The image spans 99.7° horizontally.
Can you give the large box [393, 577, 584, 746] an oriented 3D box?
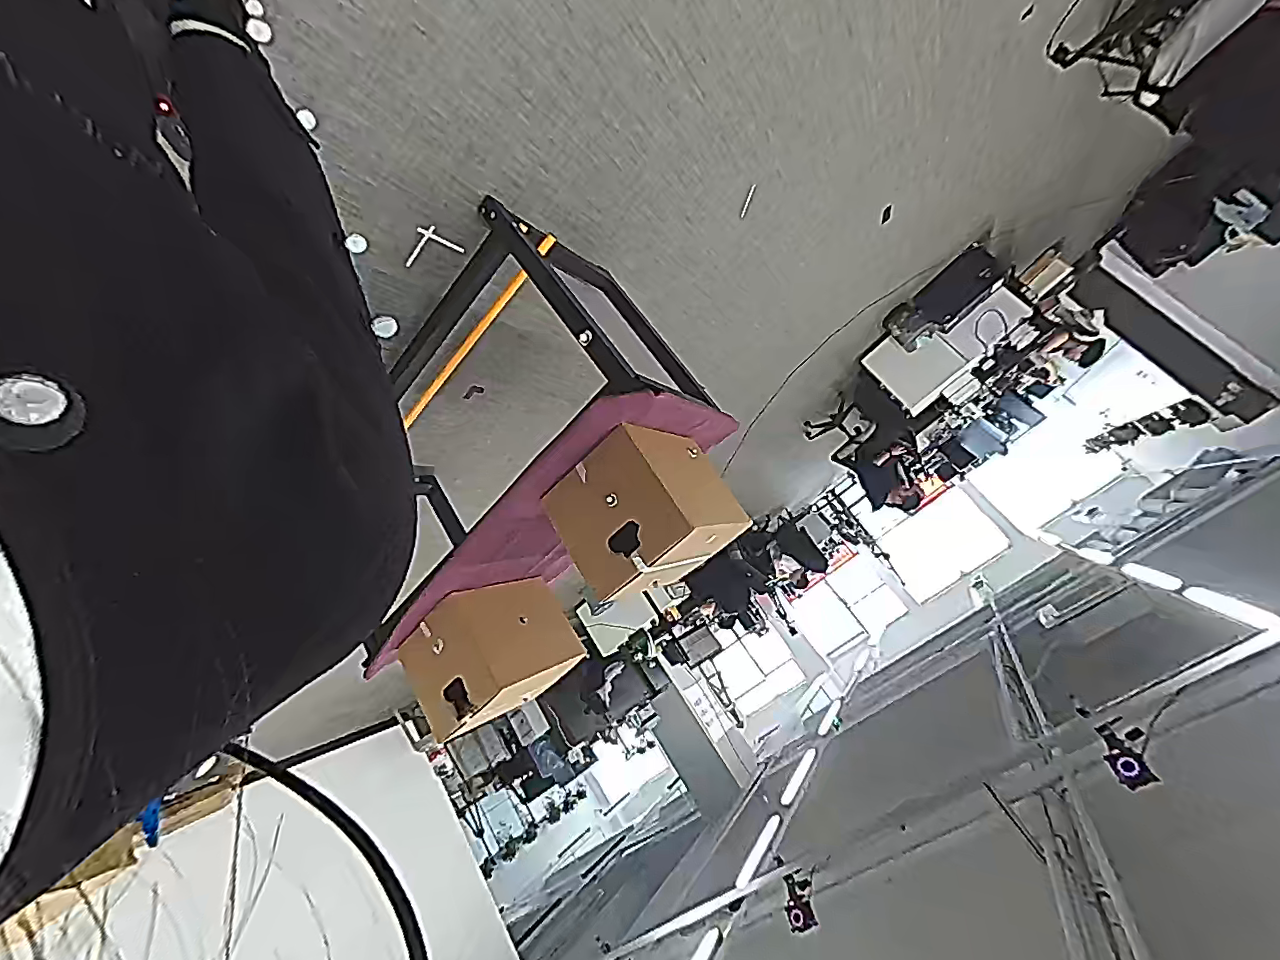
[{"bbox_3d":[-0.459,0.533,1.669,0.320,0.320,0.408,-43,160,21],"label":"large box"}]
